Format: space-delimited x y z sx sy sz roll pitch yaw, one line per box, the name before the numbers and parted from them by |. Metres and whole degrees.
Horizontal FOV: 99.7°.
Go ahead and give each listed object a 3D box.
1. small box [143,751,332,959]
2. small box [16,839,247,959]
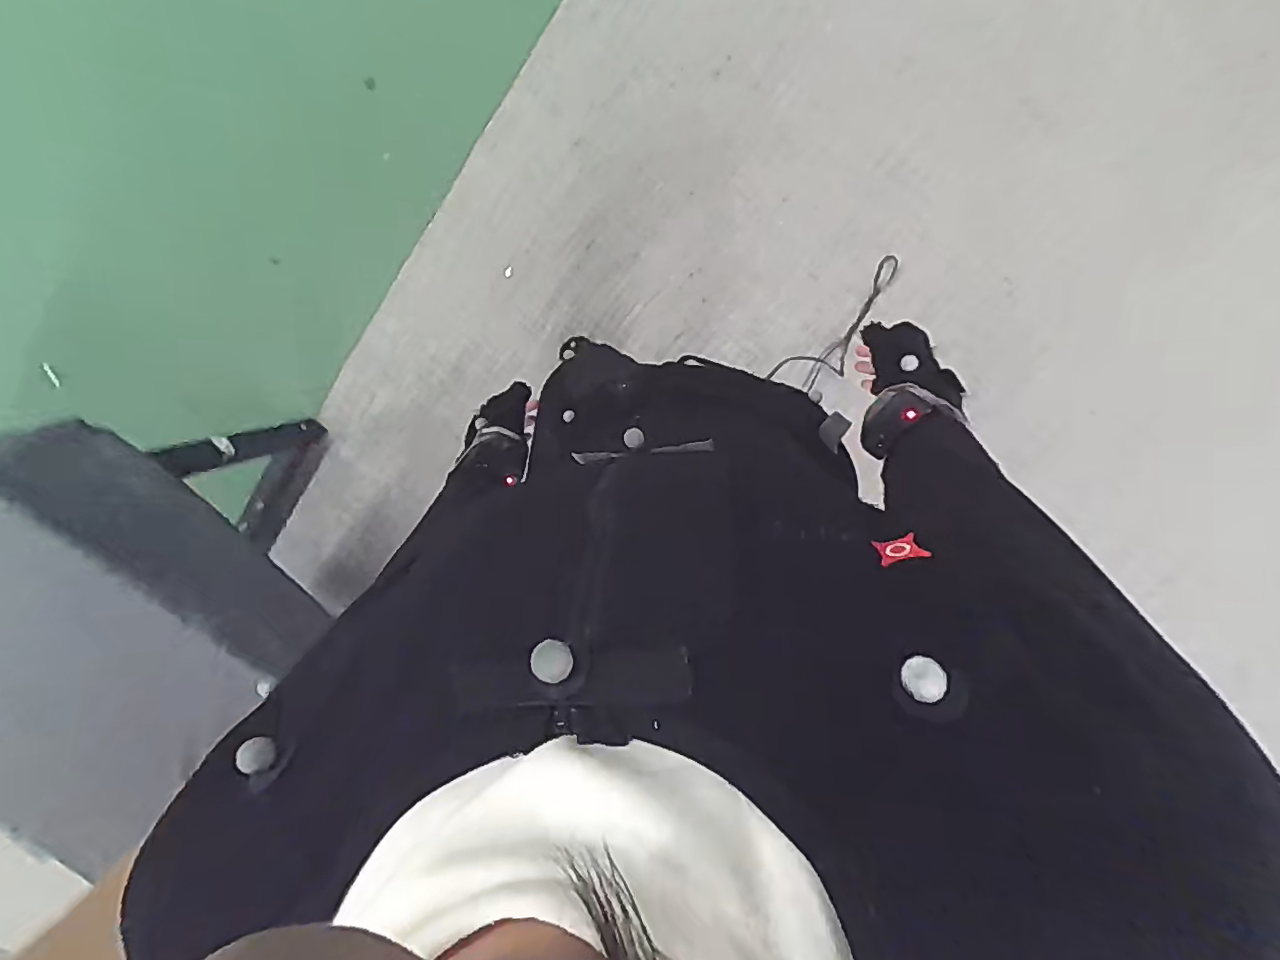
small box | -0.614 0.556 0.815 0.179 0.176 0.168 37 105 -2
small box | -0.630 0.592 0.656 0.168 0.176 0.179 36 105 -3
